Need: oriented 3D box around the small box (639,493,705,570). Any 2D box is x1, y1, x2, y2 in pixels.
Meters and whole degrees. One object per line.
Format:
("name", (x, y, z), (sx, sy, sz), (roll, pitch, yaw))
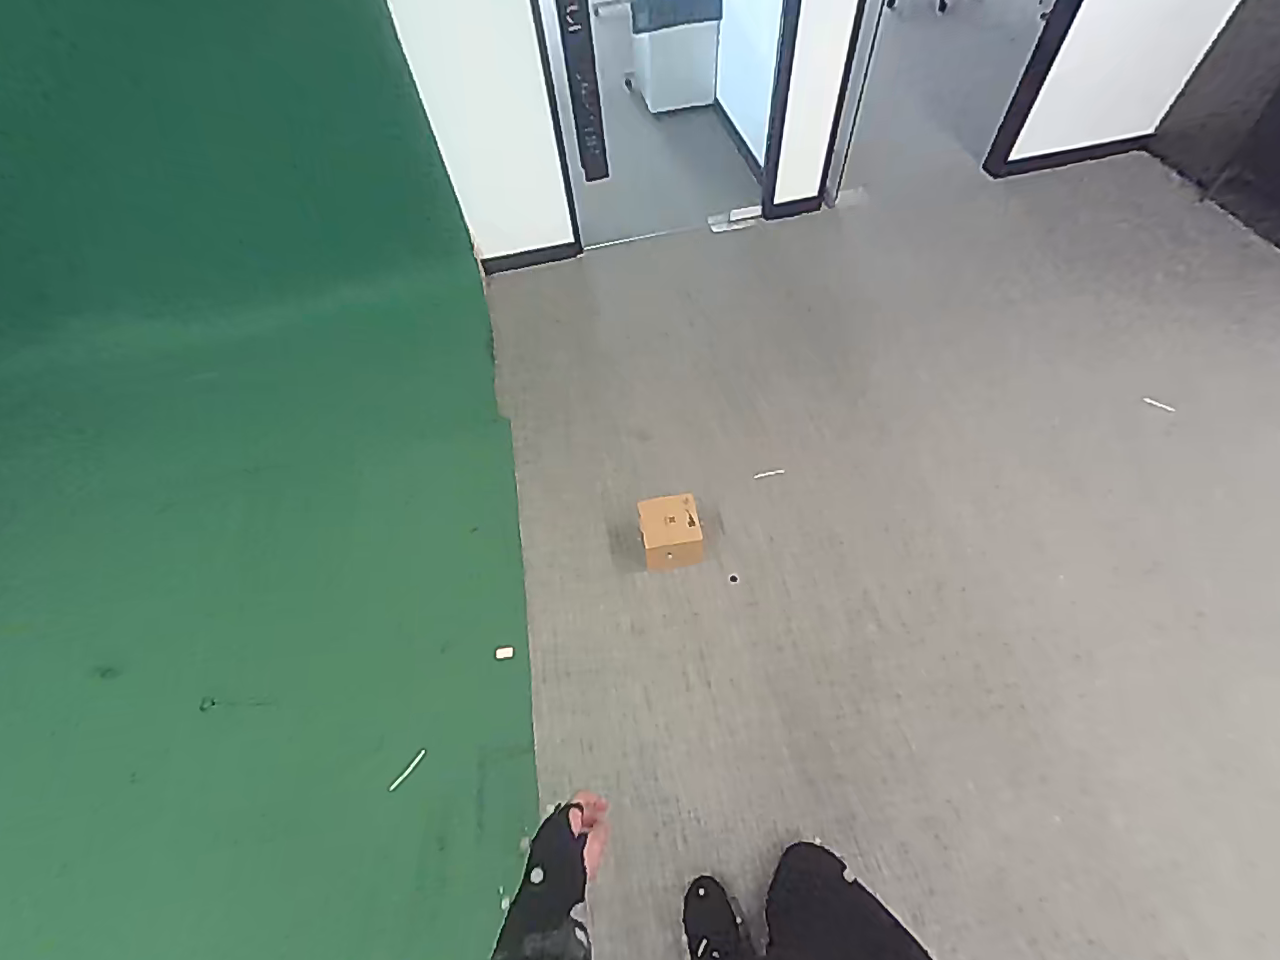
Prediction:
("small box", (0.101, 0.165, 1.670), (0.179, 0.176, 0.168), (-10, 57, 0))
